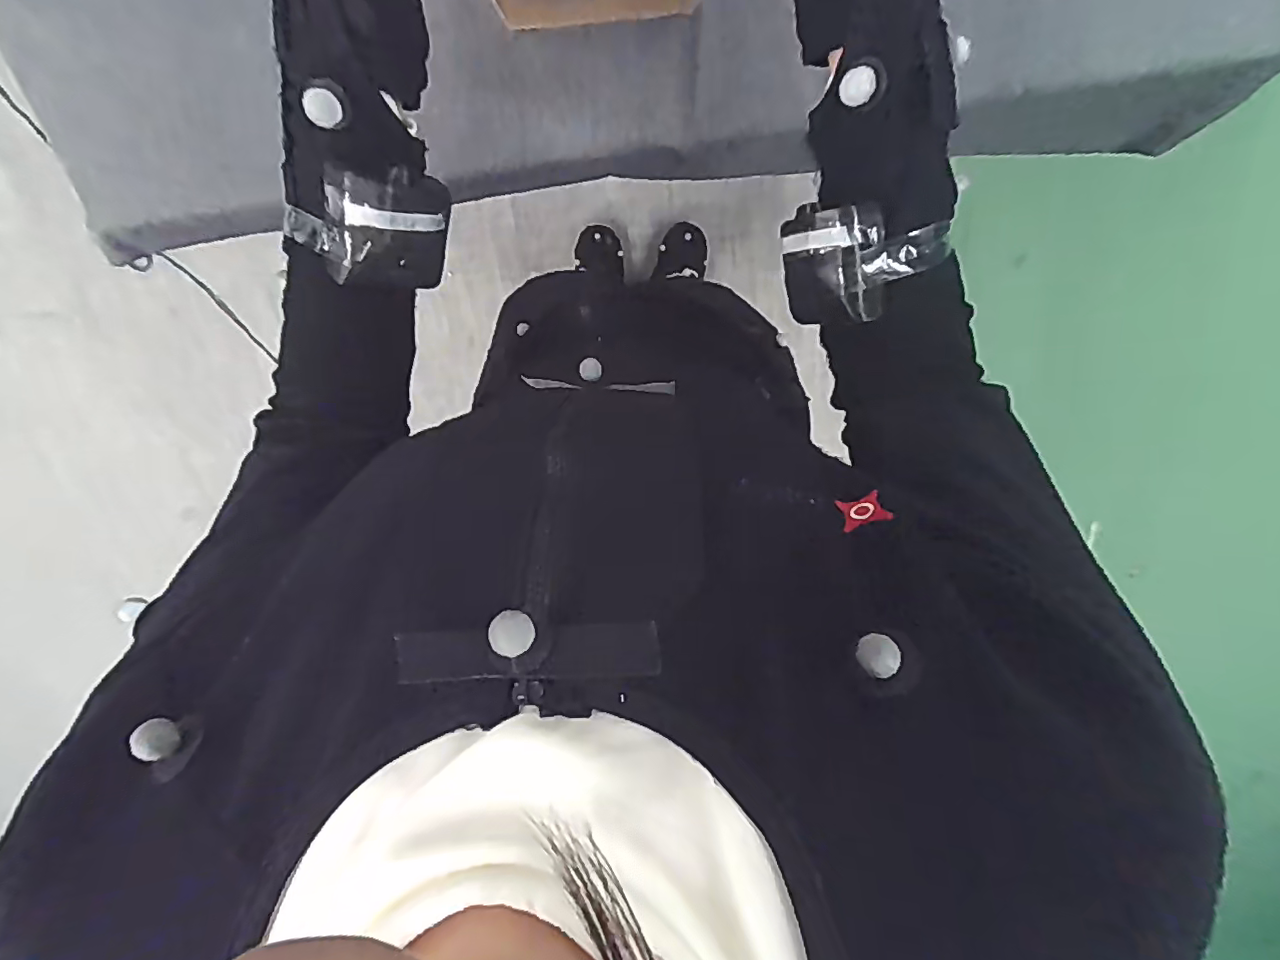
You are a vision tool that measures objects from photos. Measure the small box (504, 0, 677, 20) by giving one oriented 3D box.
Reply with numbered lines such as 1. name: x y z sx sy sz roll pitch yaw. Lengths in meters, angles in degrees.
1. small box: -0.040 -0.466 0.391 0.179 0.176 0.168 -6 117 1

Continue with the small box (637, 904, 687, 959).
1. small box: 0.077 1.648 1.924 0.168 0.176 0.179 -3 115 1
